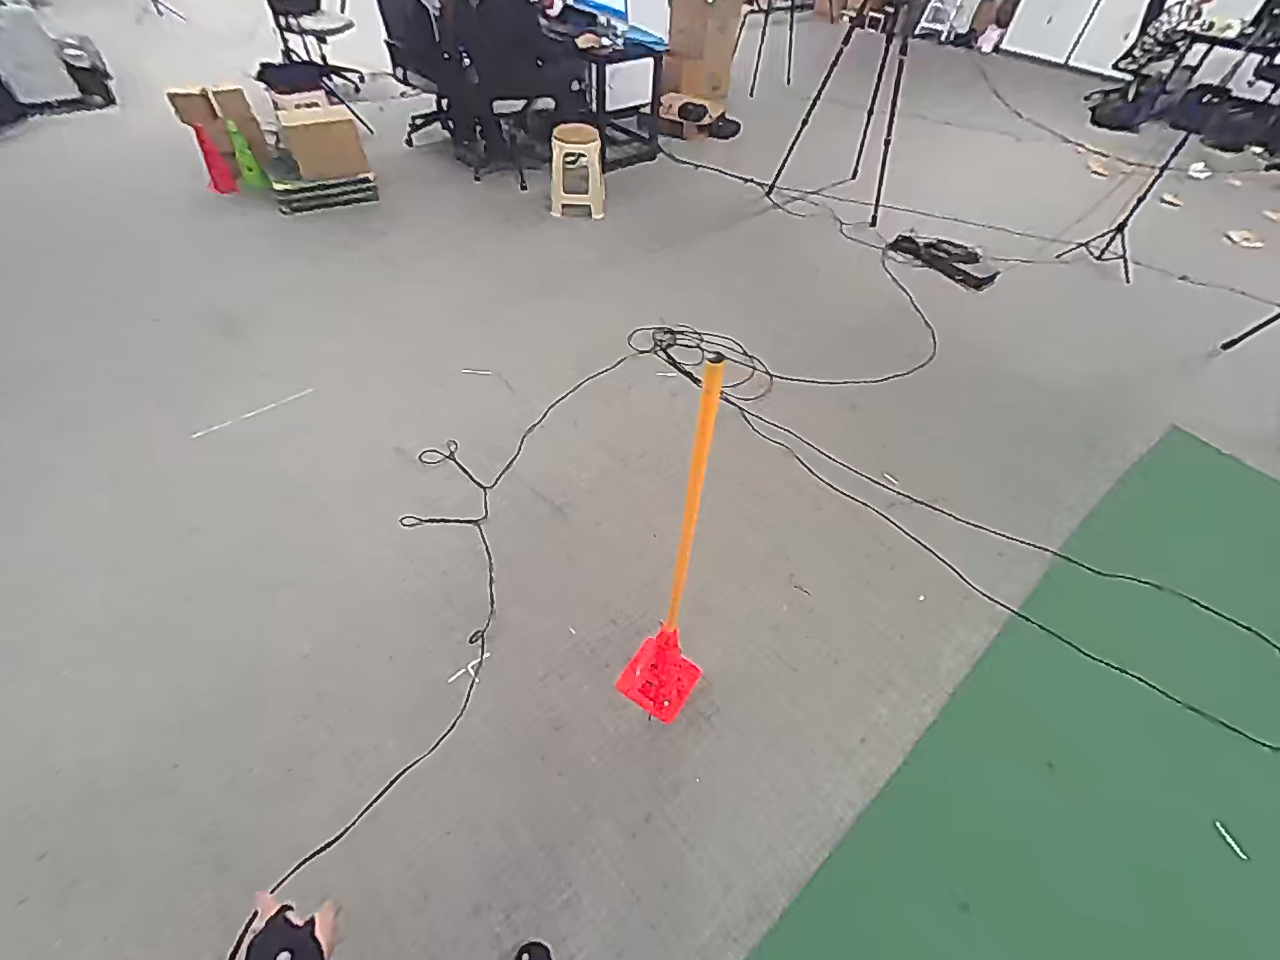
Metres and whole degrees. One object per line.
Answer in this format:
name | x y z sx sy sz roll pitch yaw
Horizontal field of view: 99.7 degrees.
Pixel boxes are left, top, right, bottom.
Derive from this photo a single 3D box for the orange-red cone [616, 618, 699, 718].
orange-red cone | 0.064 0.475 1.493 0.198 0.360 0.199 30 53 19
